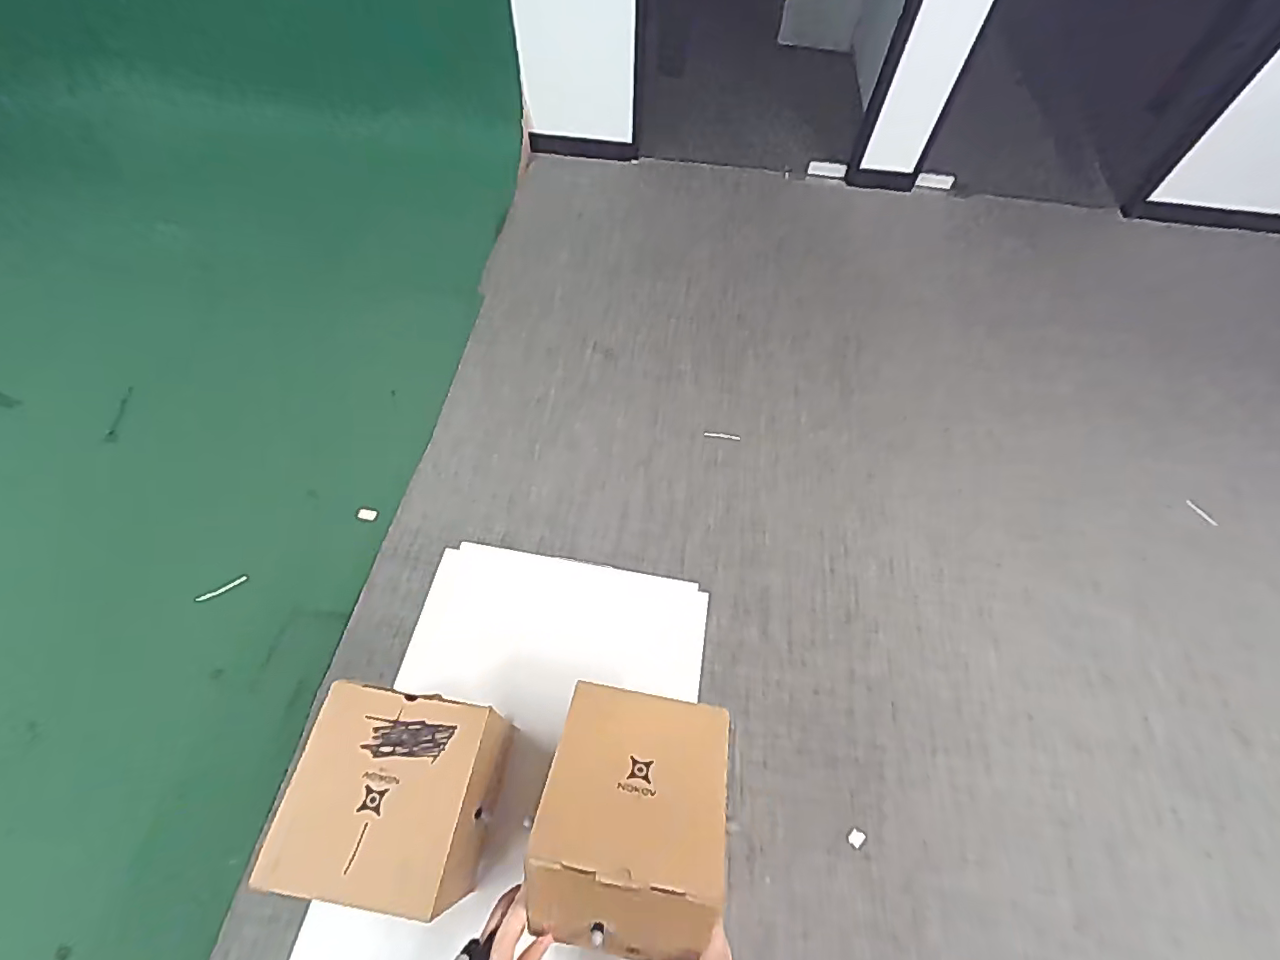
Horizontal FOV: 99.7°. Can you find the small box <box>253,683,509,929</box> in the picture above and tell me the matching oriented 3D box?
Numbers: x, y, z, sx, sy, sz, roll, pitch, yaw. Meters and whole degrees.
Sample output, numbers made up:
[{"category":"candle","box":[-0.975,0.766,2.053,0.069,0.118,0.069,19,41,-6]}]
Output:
[{"category":"small box","box":[-0.247,0.336,0.575,0.168,0.176,0.179,10,60,3]}]

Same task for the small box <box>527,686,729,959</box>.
[{"category":"small box","box":[-0.010,0.347,0.548,0.168,0.176,0.179,10,35,5]}]
